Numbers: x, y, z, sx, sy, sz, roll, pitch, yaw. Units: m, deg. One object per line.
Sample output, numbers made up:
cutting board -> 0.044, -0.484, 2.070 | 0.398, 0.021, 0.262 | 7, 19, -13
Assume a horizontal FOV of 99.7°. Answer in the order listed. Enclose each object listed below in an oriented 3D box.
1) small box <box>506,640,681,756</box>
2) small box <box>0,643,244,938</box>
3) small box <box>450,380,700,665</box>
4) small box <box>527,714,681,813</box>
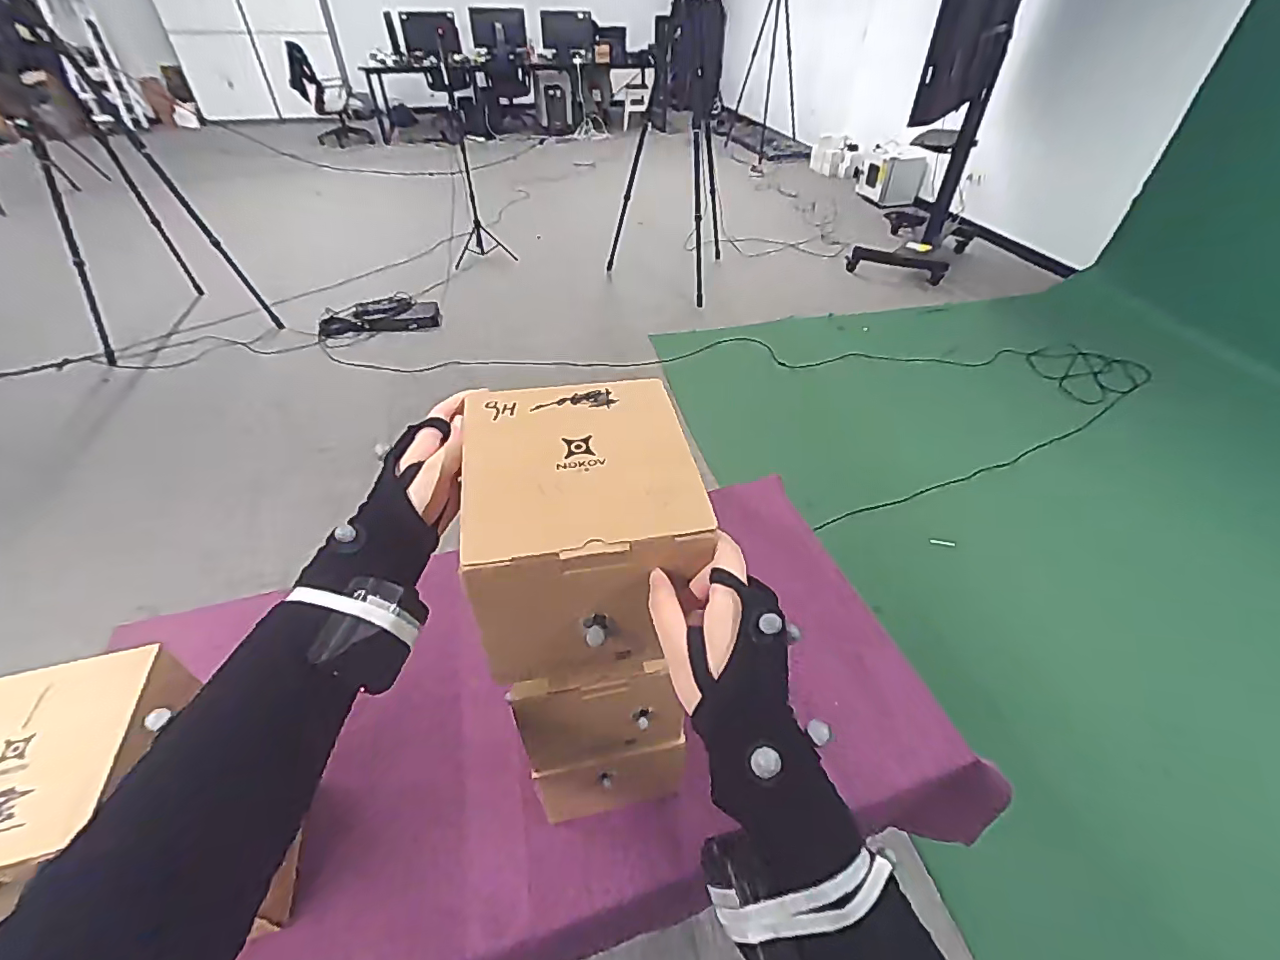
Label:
small box -> -0.054, 0.185, 0.605 | 0.168, 0.176, 0.179 | -8, 43, -9
small box -> -0.510, 0.288, 0.501 | 0.168, 0.176, 0.179 | -11, 43, -12
small box -> -0.055, 0.040, 0.458 | 0.168, 0.176, 0.179 | -6, 47, -9
small box -> -0.050, 0.310, 0.710 | 0.179, 0.176, 0.168 | -8, 44, -8
